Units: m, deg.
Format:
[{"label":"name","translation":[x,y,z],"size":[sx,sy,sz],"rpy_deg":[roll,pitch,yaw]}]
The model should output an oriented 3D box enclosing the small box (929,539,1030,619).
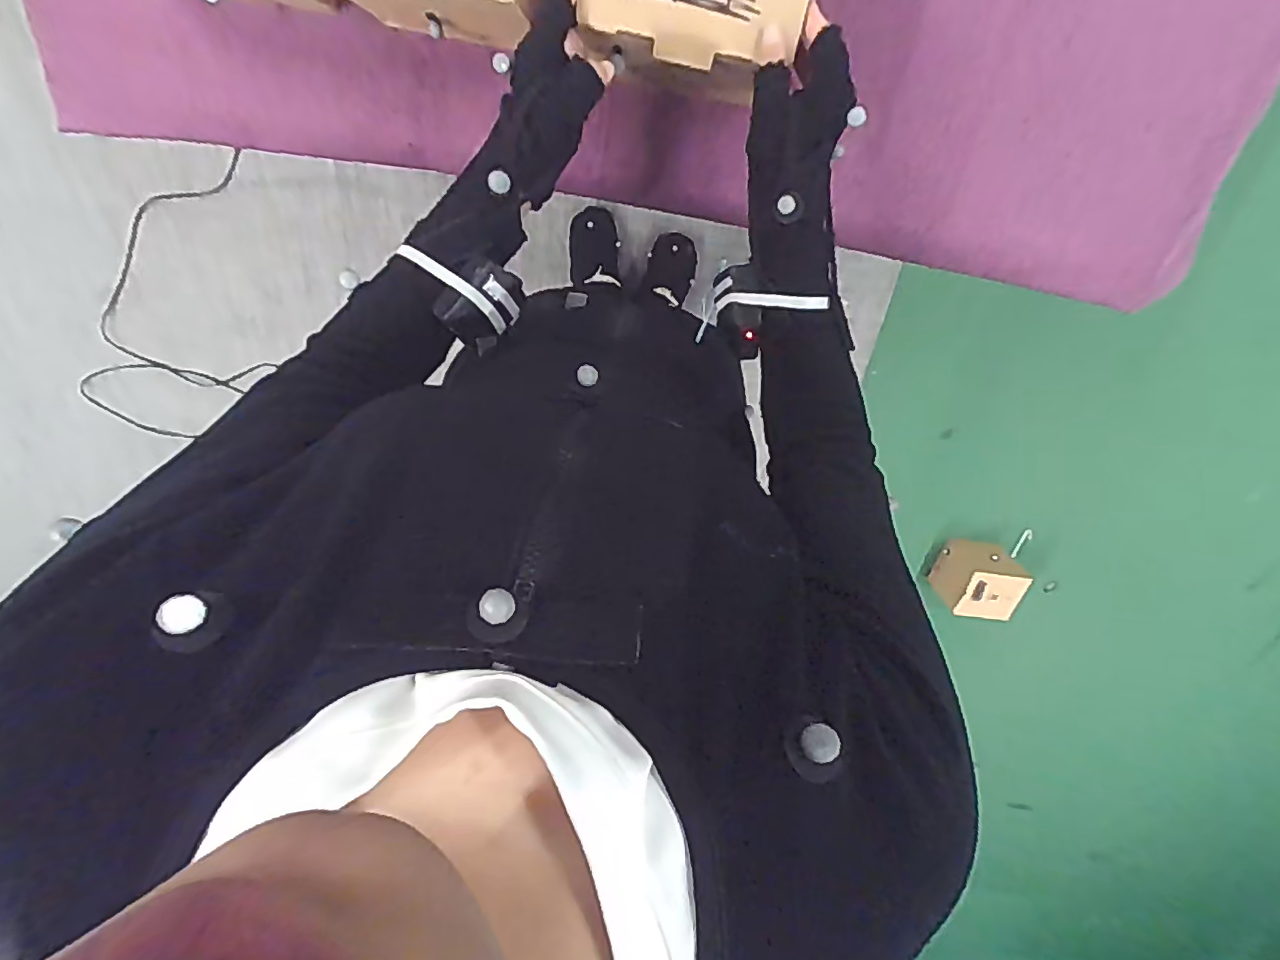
[{"label":"small box","translation":[1.024,0.297,1.651],"size":[0.179,0.176,0.168],"rpy_deg":[8,119,-4]}]
